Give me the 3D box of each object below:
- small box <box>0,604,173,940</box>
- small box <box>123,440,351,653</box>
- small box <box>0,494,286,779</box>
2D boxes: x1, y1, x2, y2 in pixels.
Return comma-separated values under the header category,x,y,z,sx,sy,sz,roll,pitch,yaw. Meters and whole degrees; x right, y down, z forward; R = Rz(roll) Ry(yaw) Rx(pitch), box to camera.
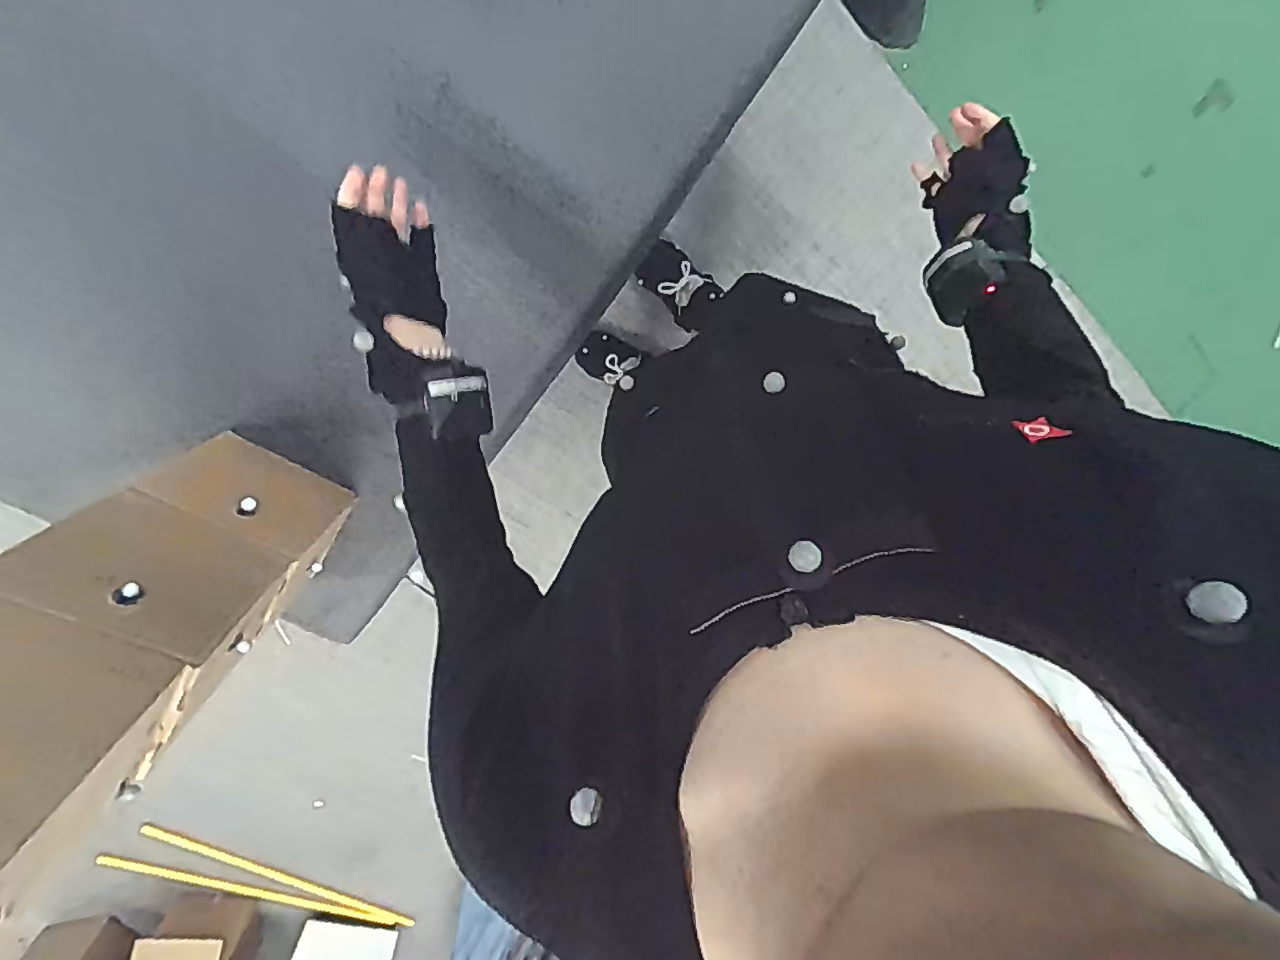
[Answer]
category,x,y,z,sx,sy,sz,roll,pitch,yaw
small box,-0.483,0.207,0.371,0.179,0.176,0.168,30,108,-17
small box,-0.501,0.071,0.668,0.179,0.176,0.168,31,109,-18
small box,-0.489,0.140,0.521,0.179,0.176,0.168,32,108,-18
